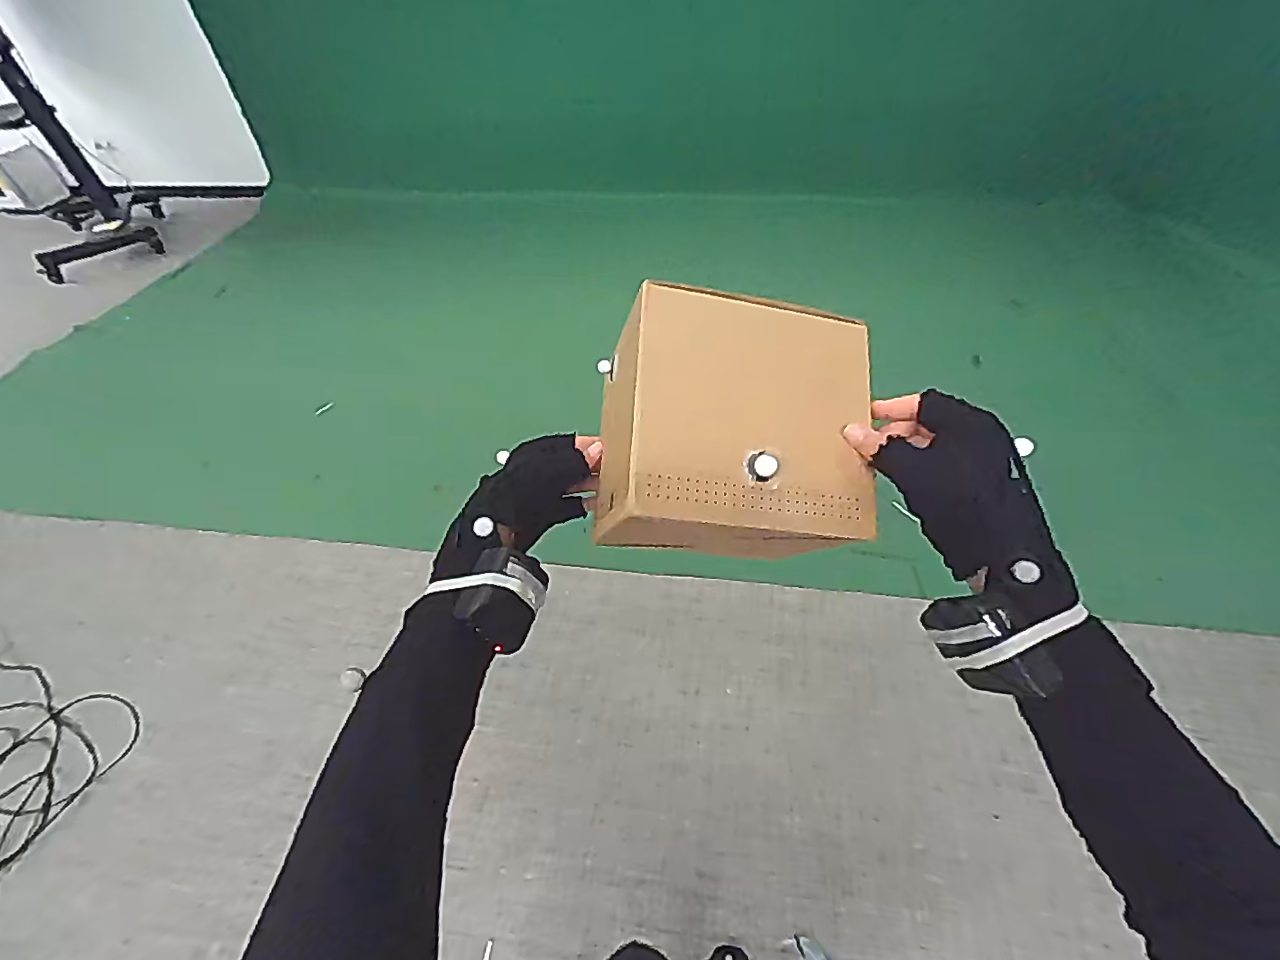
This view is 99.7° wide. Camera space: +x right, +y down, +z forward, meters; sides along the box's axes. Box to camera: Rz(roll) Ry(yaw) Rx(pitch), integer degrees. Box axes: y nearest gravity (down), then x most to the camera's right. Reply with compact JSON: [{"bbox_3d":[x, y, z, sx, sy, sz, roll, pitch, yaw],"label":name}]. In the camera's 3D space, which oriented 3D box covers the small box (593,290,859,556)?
[{"bbox_3d":[0.061,-0.029,0.455,0.179,0.168,0.176,6,76,-11],"label":"small box"}]
